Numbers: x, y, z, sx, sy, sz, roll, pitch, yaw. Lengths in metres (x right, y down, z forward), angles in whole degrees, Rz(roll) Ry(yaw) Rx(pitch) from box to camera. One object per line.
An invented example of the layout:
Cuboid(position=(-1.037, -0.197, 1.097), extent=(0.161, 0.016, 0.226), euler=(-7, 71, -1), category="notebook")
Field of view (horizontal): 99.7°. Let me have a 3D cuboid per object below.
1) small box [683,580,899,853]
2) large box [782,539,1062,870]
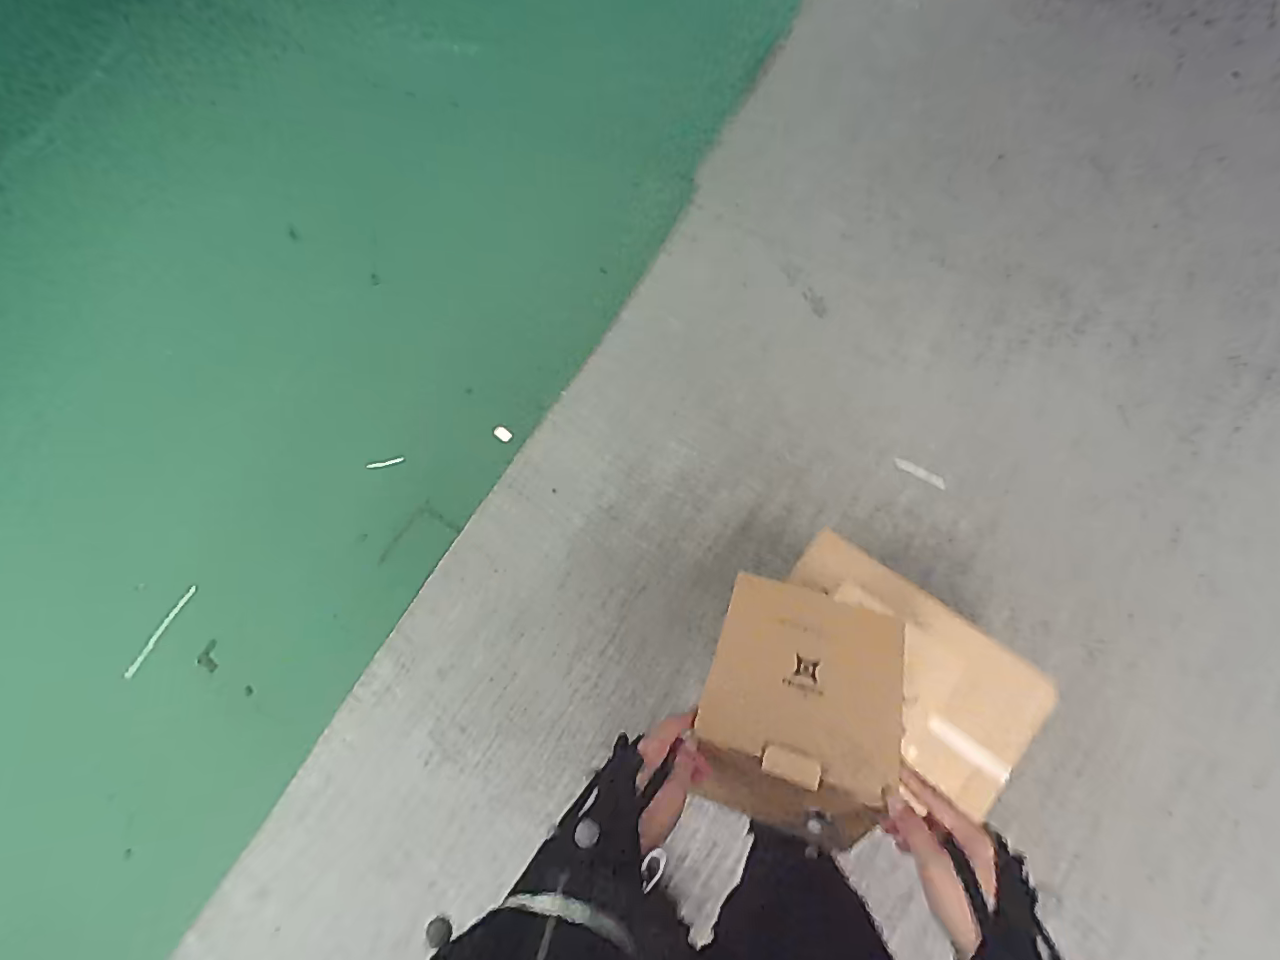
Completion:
Cuboid(position=(0.143, 0.235, 0.537), extent=(0.168, 0.176, 0.179), euler=(14, 47, 14), category="small box")
Cuboid(position=(0.403, 0.364, 0.977), extent=(0.408, 0.320, 0.320), euler=(37, 86, 20), category="large box")
